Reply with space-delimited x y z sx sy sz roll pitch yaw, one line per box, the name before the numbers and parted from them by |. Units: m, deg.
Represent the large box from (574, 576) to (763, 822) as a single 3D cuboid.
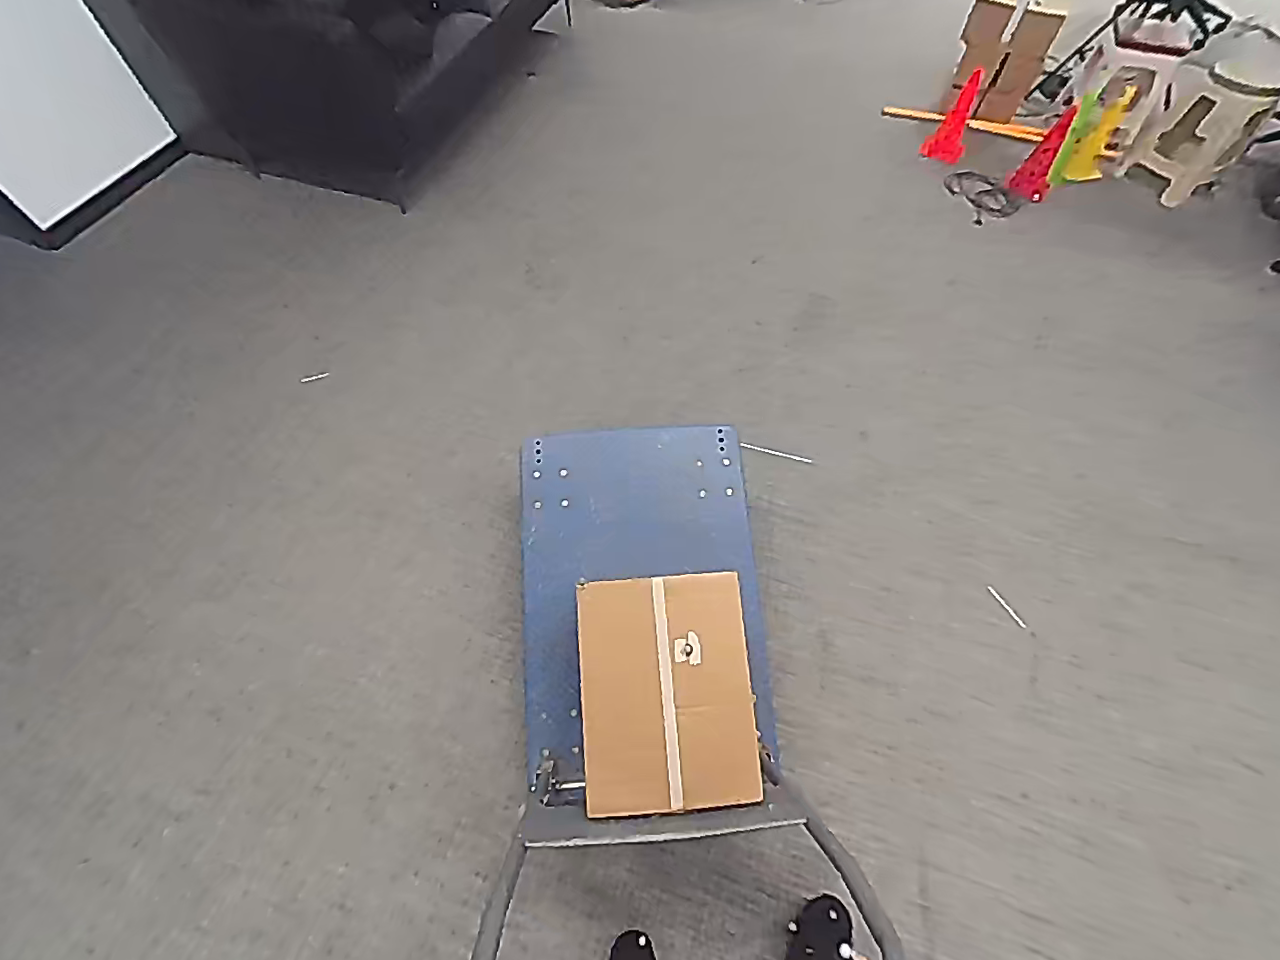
large box | 0.044 0.432 1.140 0.320 0.320 0.408 -5 75 -3
